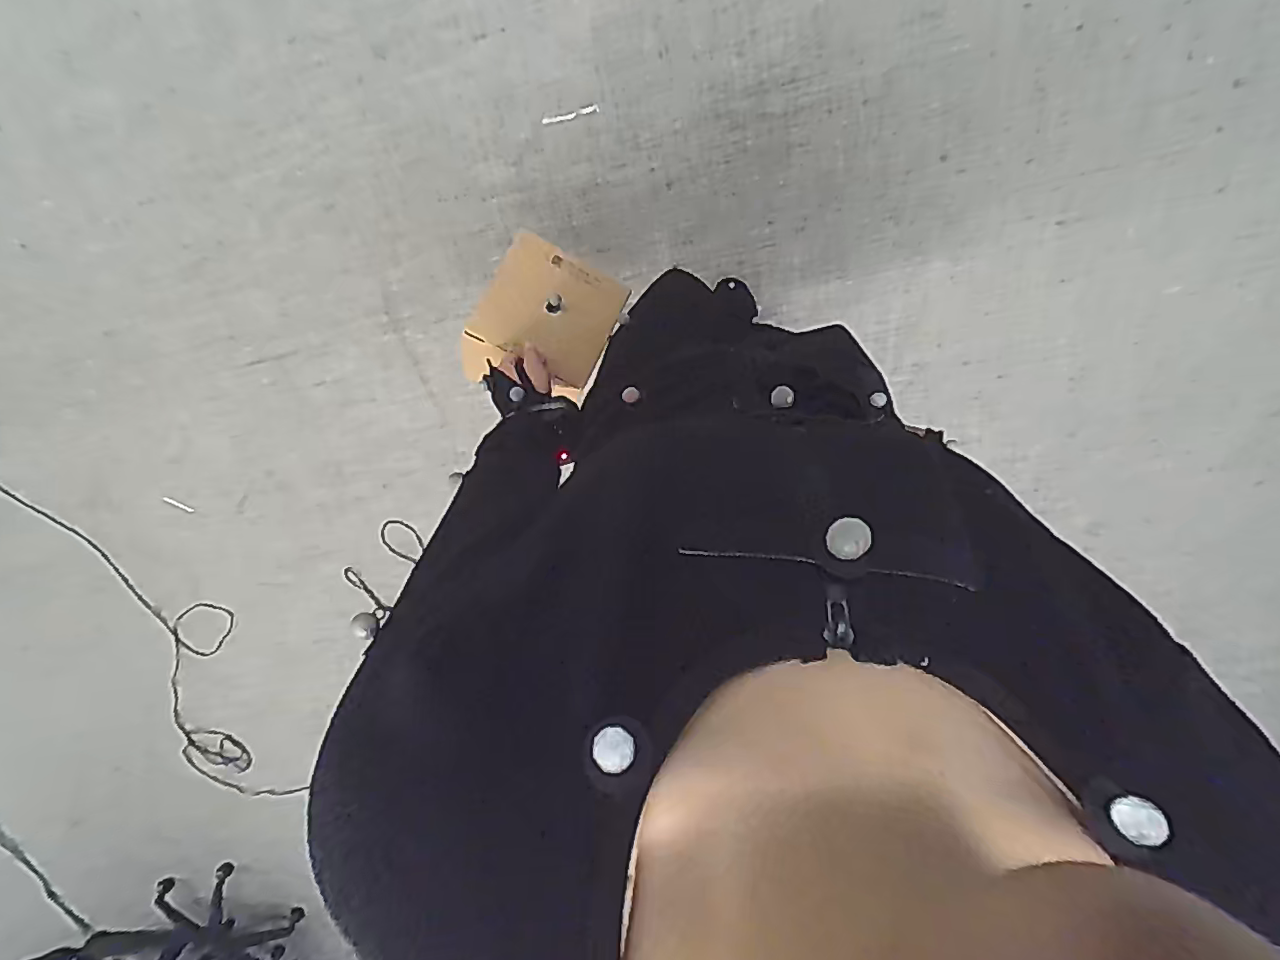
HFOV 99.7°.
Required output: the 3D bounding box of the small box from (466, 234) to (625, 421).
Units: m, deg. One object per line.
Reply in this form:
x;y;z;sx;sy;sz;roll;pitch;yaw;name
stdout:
-0.137;-0.212;0.779;0.168;0.179;0.176;27;76;-12;small box
